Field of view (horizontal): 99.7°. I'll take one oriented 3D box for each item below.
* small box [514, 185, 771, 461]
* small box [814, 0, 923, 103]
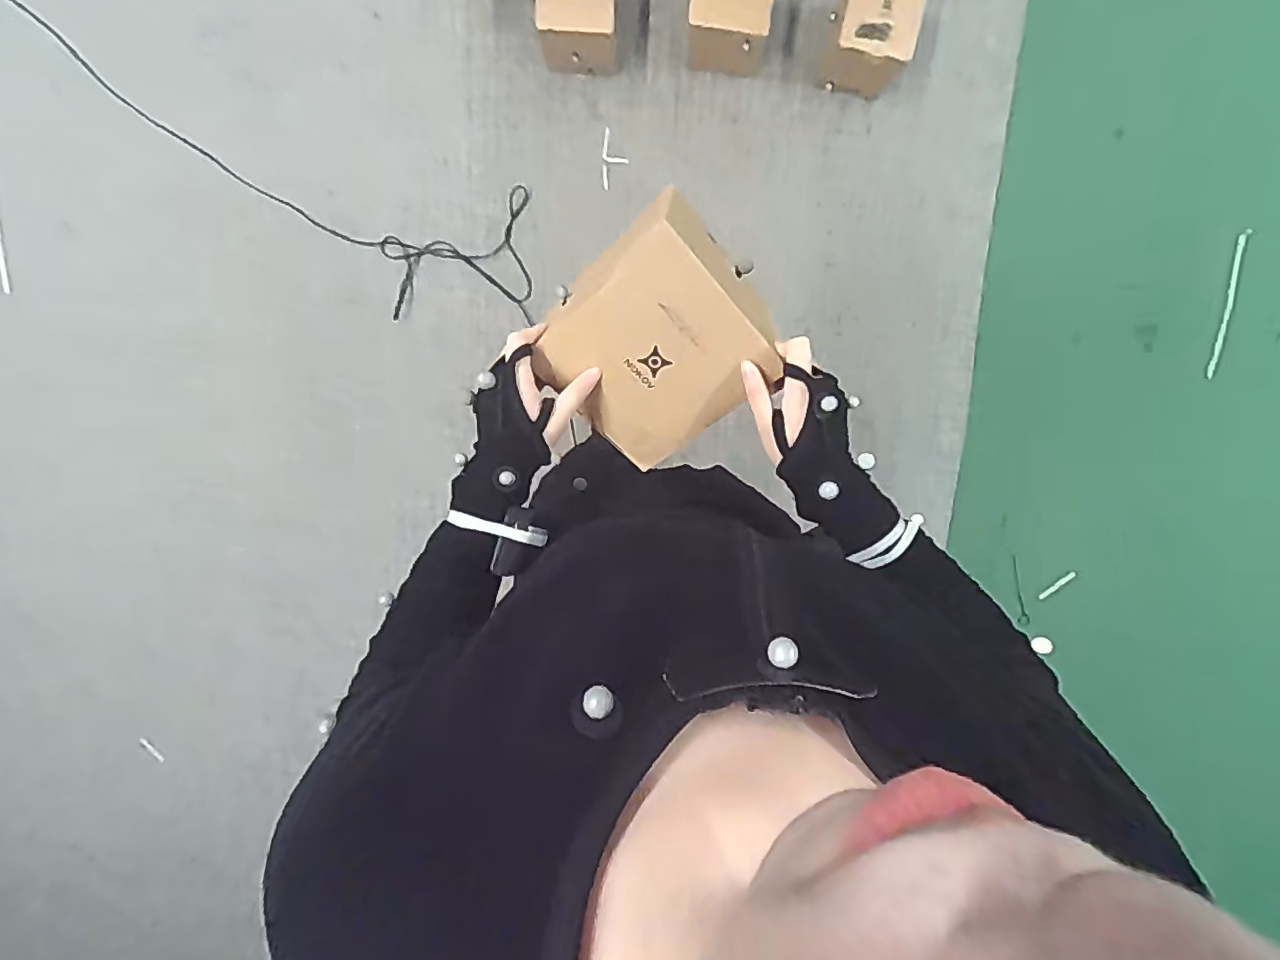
[{"bbox_3d":[0.009,-0.158,0.541,0.179,0.176,0.168,-35,116,28],"label":"small box"},{"bbox_3d":[0.516,-1.010,1.238,0.168,0.176,0.179,10,95,-4],"label":"small box"}]
